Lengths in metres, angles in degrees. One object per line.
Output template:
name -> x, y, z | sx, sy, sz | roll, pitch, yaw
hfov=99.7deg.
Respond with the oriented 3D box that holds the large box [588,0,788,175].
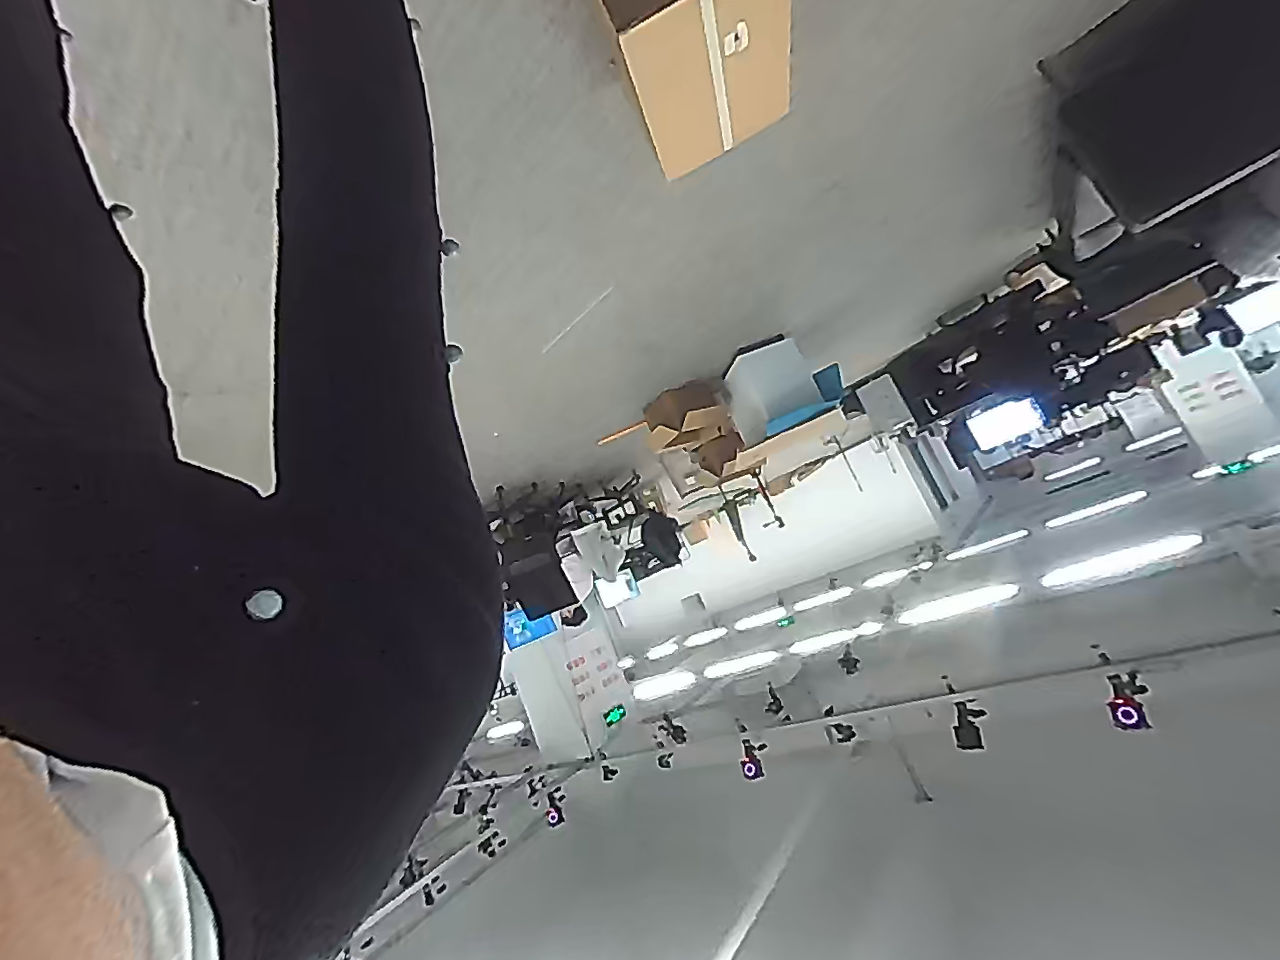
large box -> 0.086, -0.929, 1.083 | 0.320, 0.320, 0.408 | -26, 168, 11
